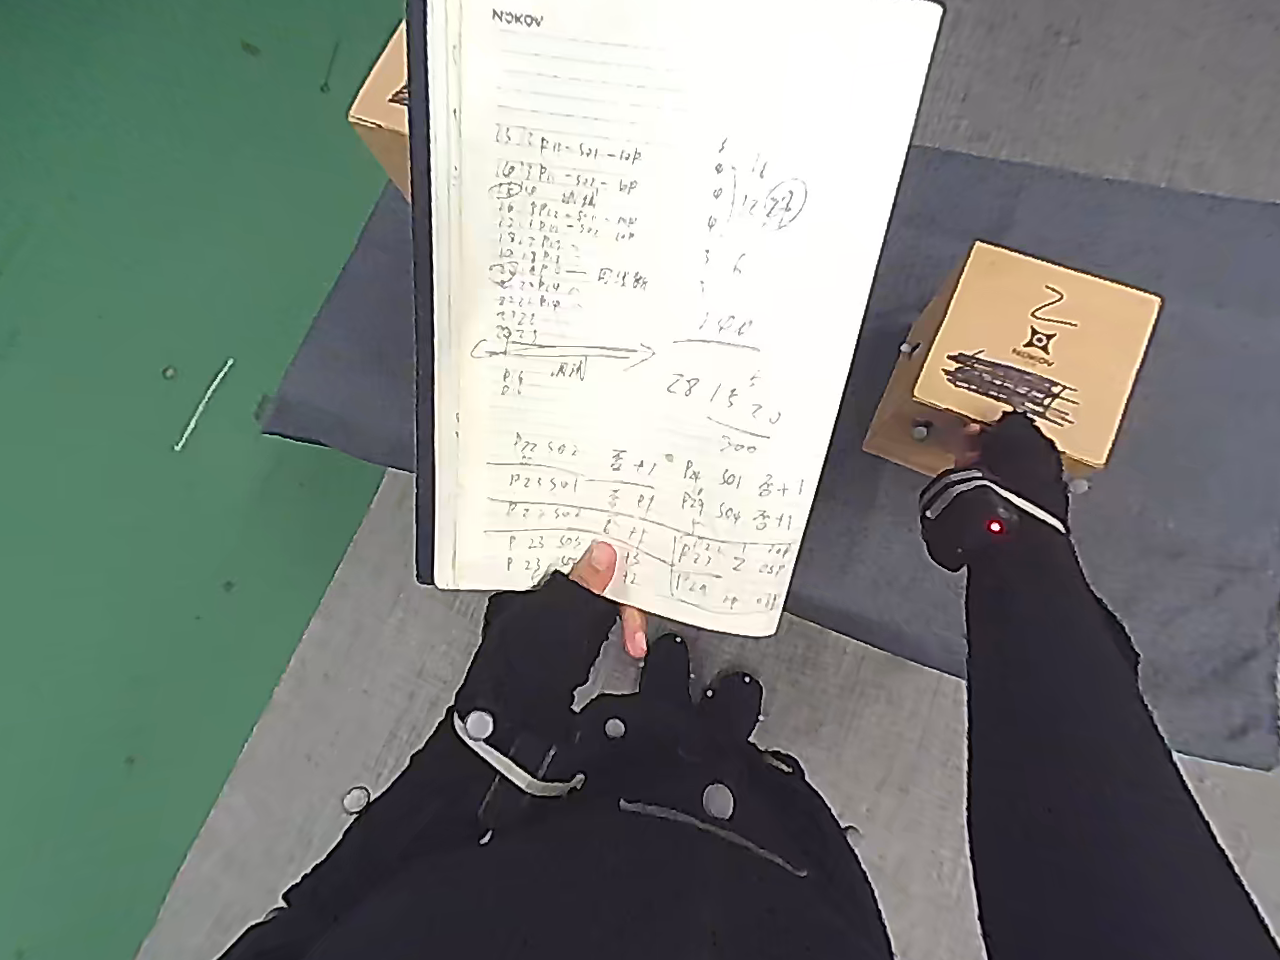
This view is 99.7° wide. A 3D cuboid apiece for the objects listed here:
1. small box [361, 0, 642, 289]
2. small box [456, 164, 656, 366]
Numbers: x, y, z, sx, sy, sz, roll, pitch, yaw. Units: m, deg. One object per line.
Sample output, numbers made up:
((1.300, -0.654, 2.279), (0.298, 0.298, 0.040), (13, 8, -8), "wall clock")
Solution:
((-0.106, -0.312, 0.504), (0.168, 0.176, 0.179), (22, 79, 11), "small box")
((-0.086, -0.271, 0.661), (0.168, 0.176, 0.179), (21, 80, 12), "small box")
